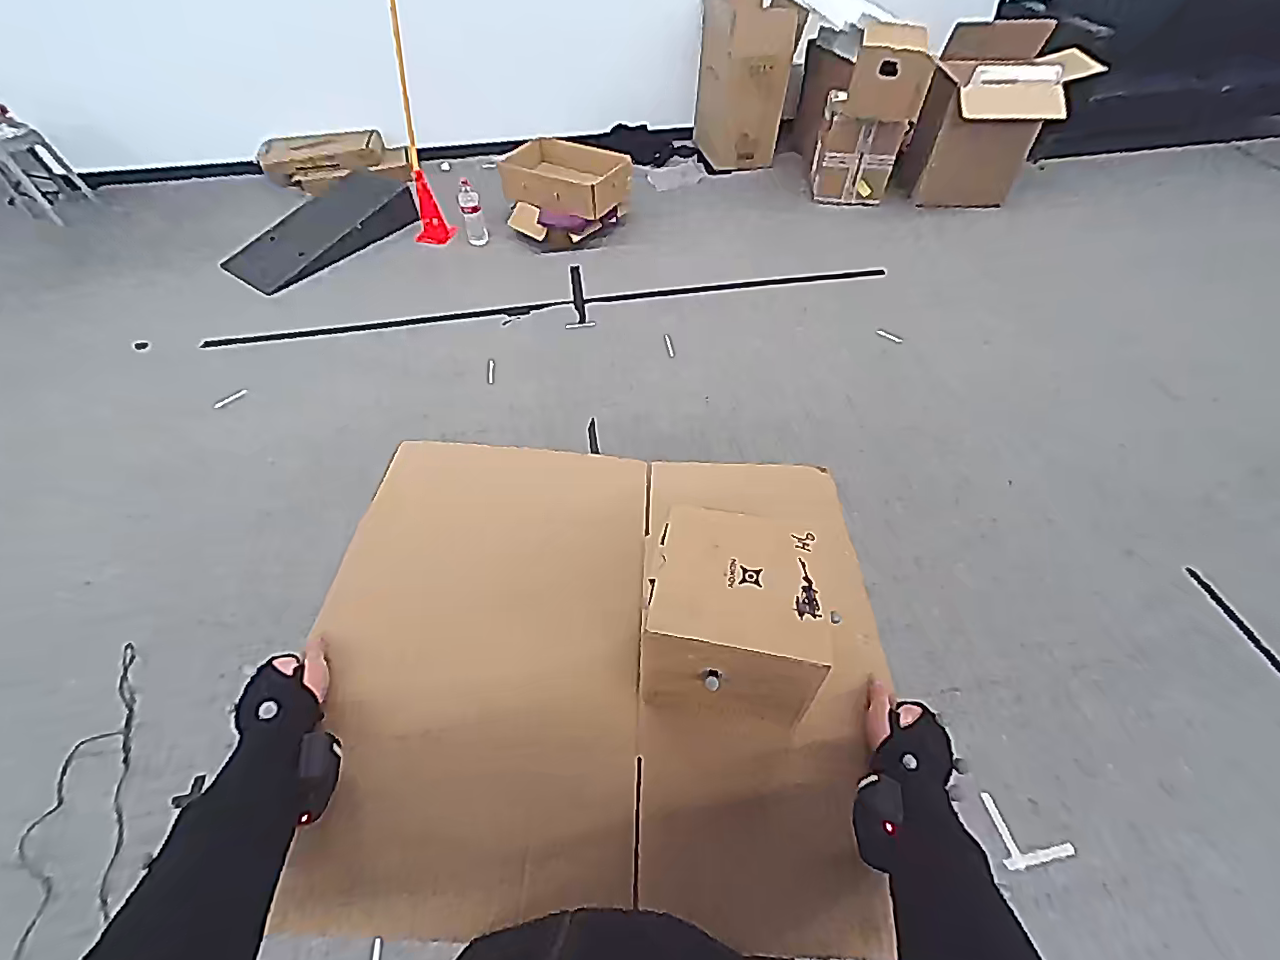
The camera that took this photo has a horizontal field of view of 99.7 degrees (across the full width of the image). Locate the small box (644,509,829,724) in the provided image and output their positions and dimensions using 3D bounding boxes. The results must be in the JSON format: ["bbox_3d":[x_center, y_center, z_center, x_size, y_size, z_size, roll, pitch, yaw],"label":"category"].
[{"bbox_3d":[0.107,0.157,0.617,0.179,0.176,0.168,7,48,9],"label":"small box"}]
